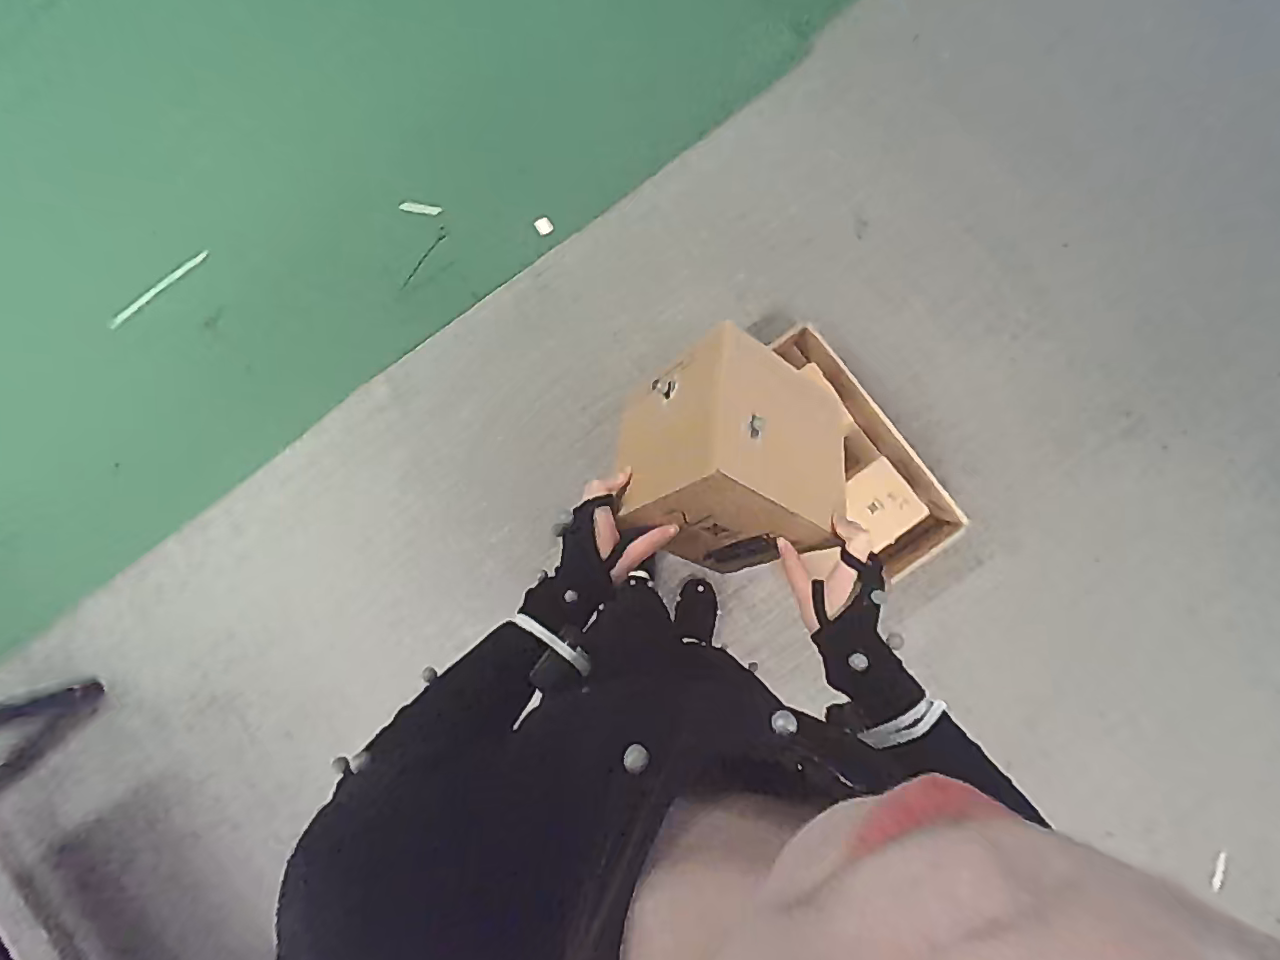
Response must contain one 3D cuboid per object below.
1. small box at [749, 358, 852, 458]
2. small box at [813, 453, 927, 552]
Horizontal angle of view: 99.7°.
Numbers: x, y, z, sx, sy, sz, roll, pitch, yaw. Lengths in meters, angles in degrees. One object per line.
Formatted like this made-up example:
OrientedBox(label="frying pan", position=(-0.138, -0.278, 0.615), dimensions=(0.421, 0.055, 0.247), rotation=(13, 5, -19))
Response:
OrientedBox(label="small box", position=(0.384, -0.168, 1.333), dimensions=(0.179, 0.176, 0.168), rotation=(-32, 86, 2))
OrientedBox(label="small box", position=(0.540, 0.056, 1.306), dimensions=(0.179, 0.176, 0.168), rotation=(-36, 85, 3))
